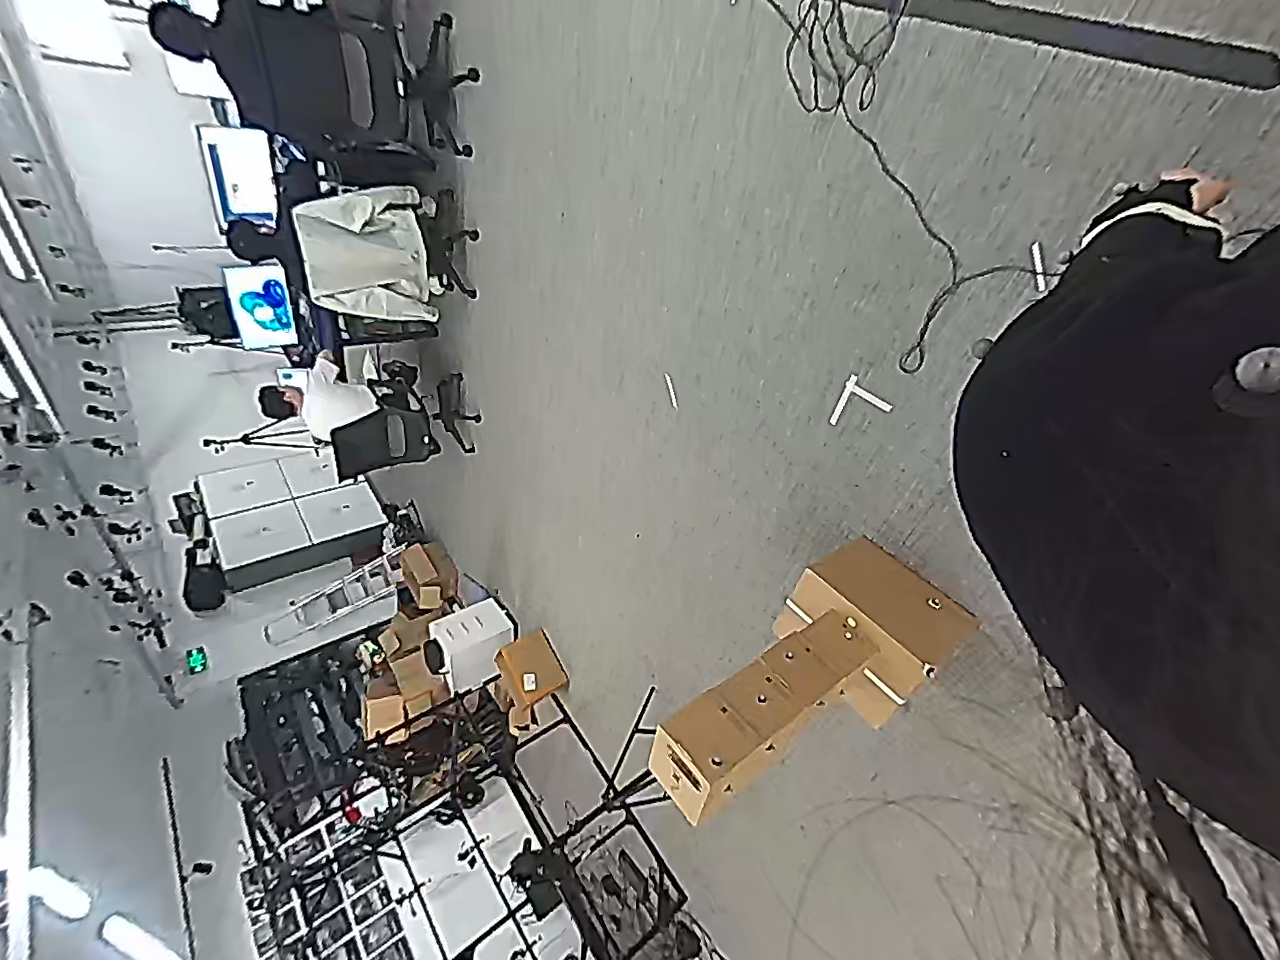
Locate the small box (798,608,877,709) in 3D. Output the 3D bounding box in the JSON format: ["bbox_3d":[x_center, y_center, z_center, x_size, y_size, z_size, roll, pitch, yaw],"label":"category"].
[{"bbox_3d":[0.523,0.492,1.504,0.168,0.176,0.179,43,135,33],"label":"small box"}]

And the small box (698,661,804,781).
[{"bbox_3d":[0.271,0.576,1.314,0.168,0.176,0.179,39,133,38],"label":"small box"}]

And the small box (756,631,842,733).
[{"bbox_3d":[0.396,0.527,1.410,0.168,0.176,0.179,43,136,35],"label":"small box"}]
